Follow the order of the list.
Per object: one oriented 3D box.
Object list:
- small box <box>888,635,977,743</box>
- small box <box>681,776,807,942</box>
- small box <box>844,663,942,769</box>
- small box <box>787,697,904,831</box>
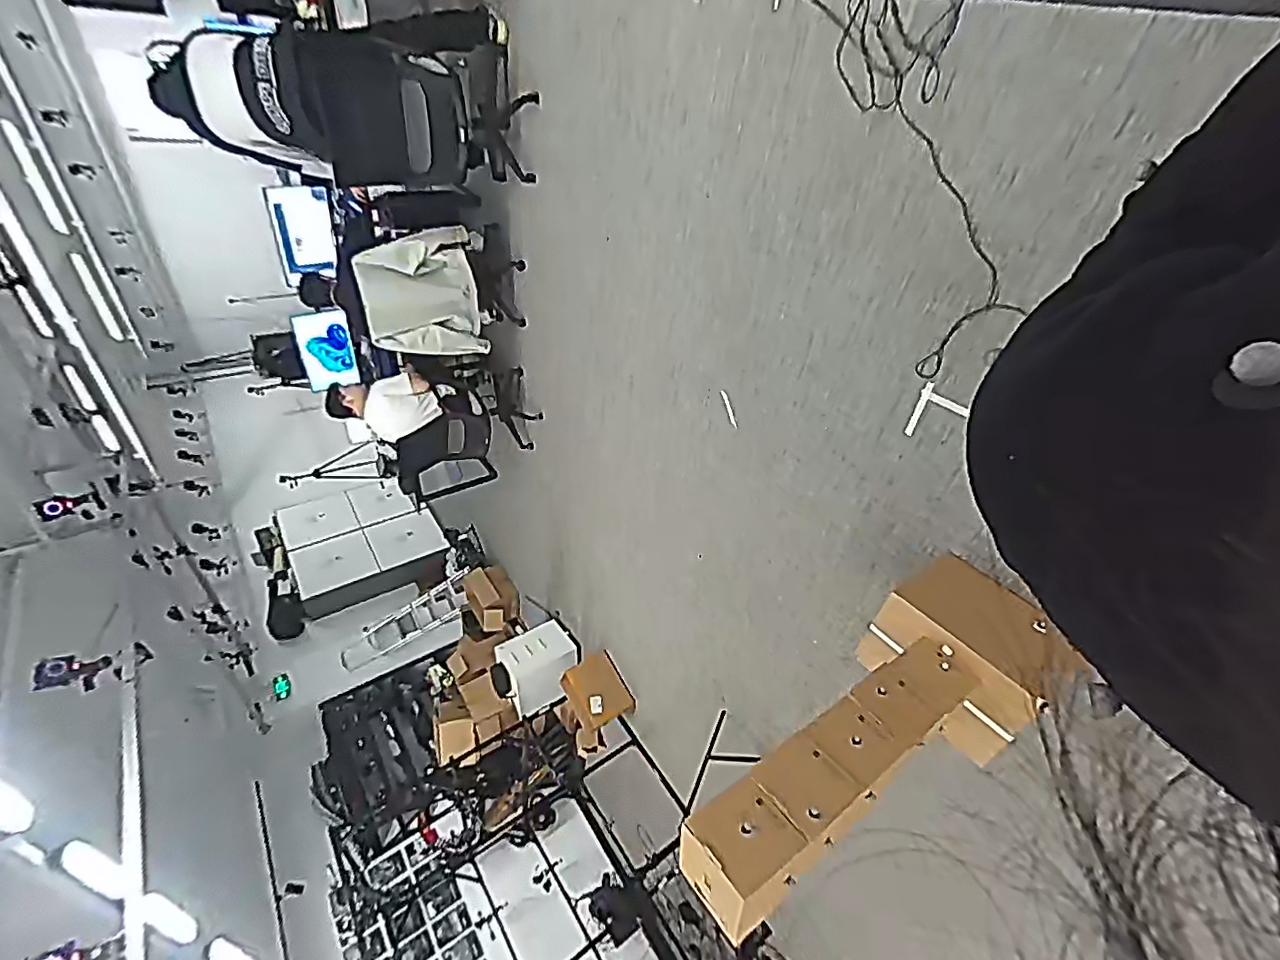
[{"bbox_3d":[0.727,0.540,1.395,0.168,0.176,0.179,42,138,38],"label":"small box"},{"bbox_3d":[0.201,0.725,1.054,0.168,0.176,0.179,35,133,45],"label":"small box"},{"bbox_3d":[0.595,0.580,1.311,0.168,0.176,0.179,42,140,40],"label":"small box"},{"bbox_3d":[0.465,0.634,1.225,0.168,0.176,0.179,38,136,43],"label":"small box"}]
